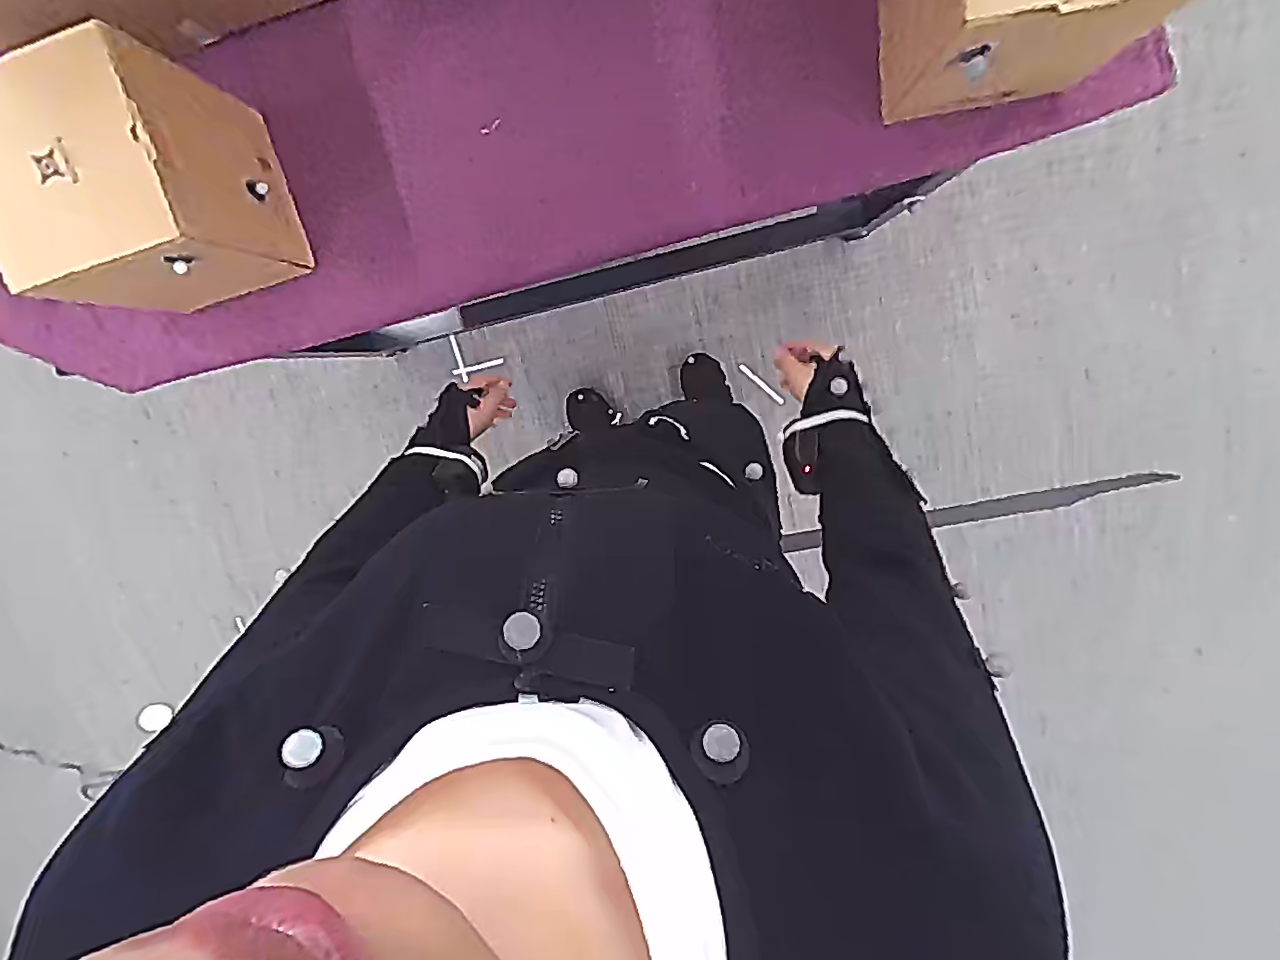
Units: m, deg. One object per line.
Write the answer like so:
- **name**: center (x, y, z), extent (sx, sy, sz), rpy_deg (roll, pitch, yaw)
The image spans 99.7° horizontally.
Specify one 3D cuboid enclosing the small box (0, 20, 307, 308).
- **small box**: center (-0.474, -0.275, 0.520), extent (0.179, 0.176, 0.168), rpy_deg (-15, 101, 7)
